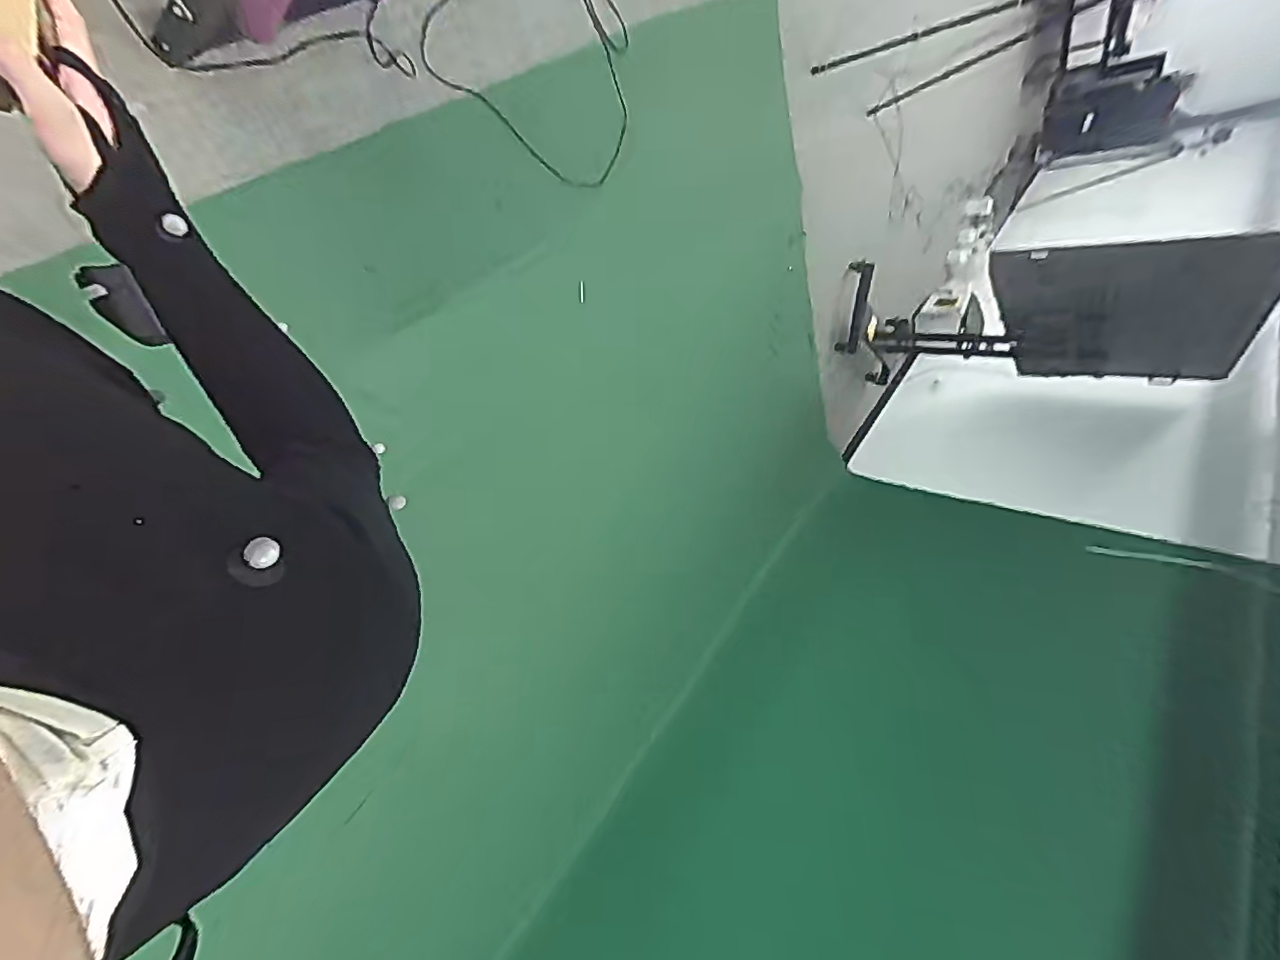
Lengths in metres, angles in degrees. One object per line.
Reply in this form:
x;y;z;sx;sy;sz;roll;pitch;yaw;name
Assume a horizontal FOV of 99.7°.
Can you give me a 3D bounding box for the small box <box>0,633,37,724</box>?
-1.212;0.352;0.936;0.168;0.176;0.179;-42;130;-32;small box
